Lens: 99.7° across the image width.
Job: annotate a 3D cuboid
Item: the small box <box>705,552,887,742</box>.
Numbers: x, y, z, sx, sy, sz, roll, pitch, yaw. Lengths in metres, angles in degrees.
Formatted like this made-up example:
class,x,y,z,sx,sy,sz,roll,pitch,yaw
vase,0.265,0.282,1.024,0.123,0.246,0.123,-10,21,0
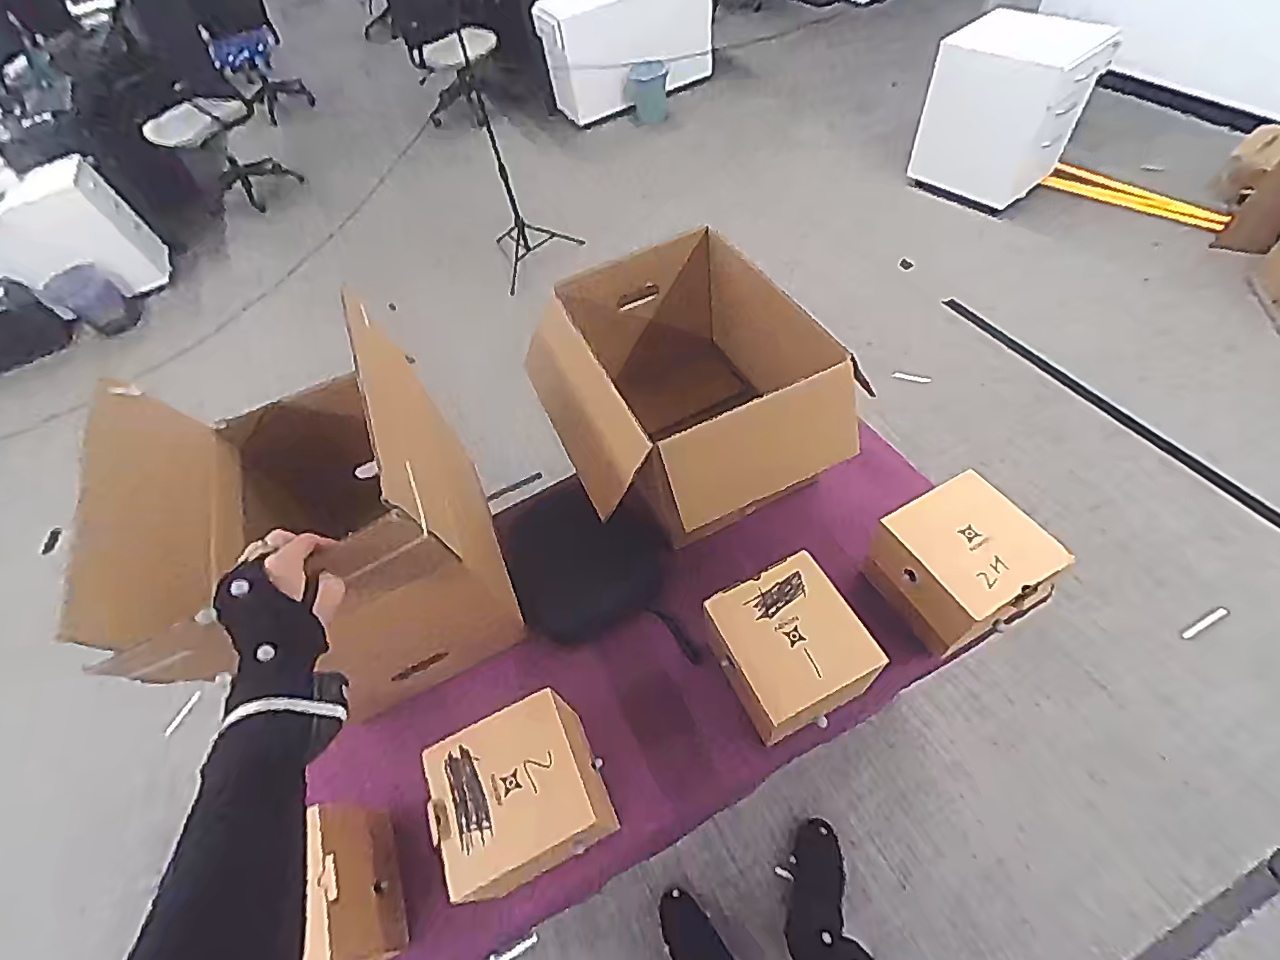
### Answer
class,x,y,z,sx,sy,sz,roll,pitch,yaw
small box,0.204,0.237,0.758,0.168,0.176,0.179,-26,56,-7

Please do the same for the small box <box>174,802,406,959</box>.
class,x,y,z,sx,sy,sz,roll,pitch,yaw
small box,-0.419,0.529,0.664,0.179,0.176,0.168,-24,55,-9

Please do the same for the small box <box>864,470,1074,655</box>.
class,x,y,z,sx,sy,sz,roll,pitch,yaw
small box,0.458,0.124,0.790,0.168,0.176,0.179,-27,56,-8
